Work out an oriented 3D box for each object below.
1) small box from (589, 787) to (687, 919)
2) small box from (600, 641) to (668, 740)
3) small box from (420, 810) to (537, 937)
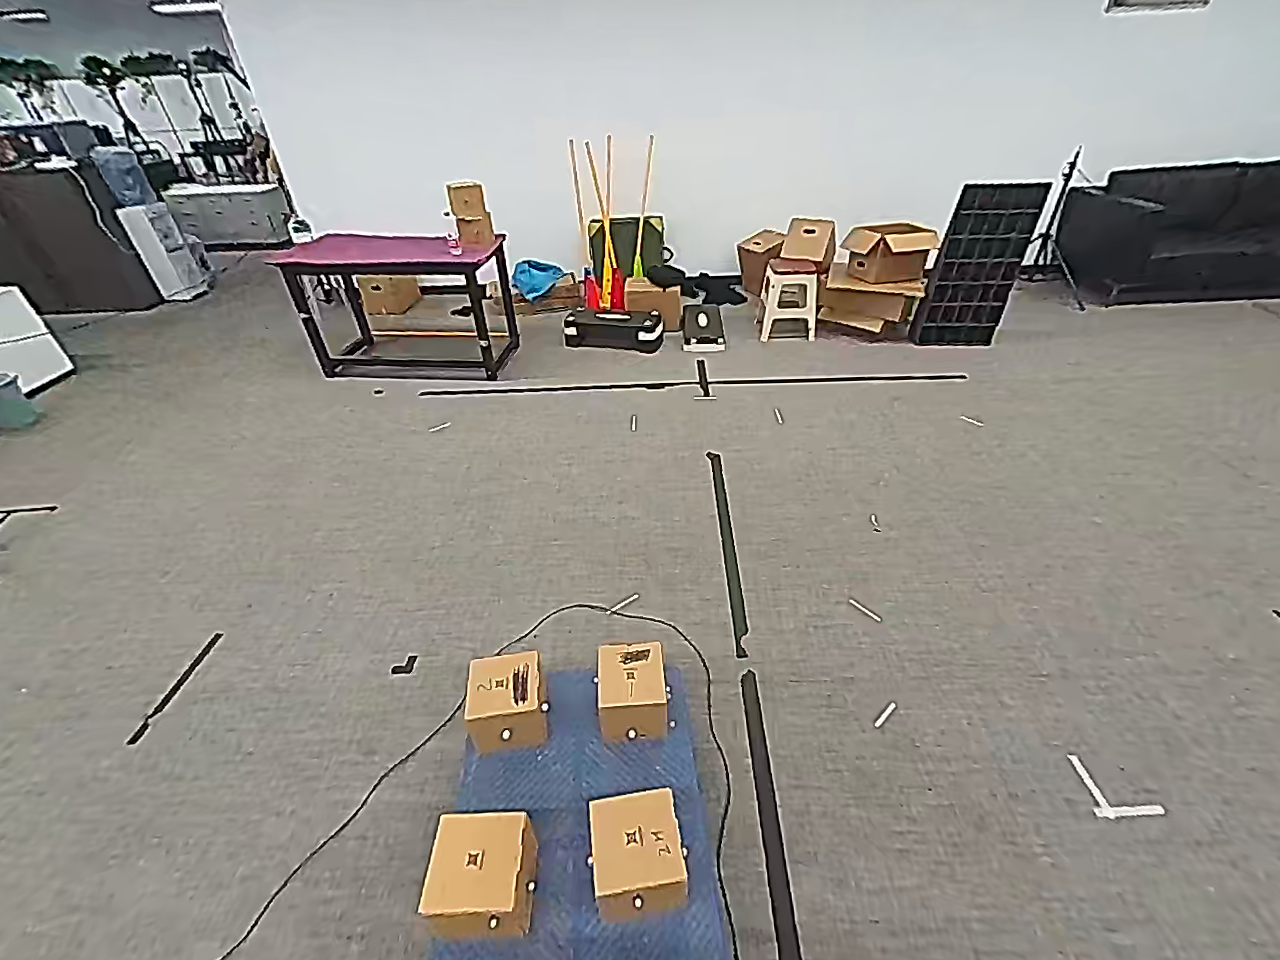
[{"bbox_3d":[-0.004,0.761,1.102,0.179,0.176,0.168,-6,37,-5],"label":"small box"},{"bbox_3d":[-0.017,0.541,1.394,0.168,0.176,0.179,-3,38,-1],"label":"small box"},{"bbox_3d":[-0.311,0.788,1.082,0.179,0.176,0.168,-1,37,-1],"label":"small box"}]
